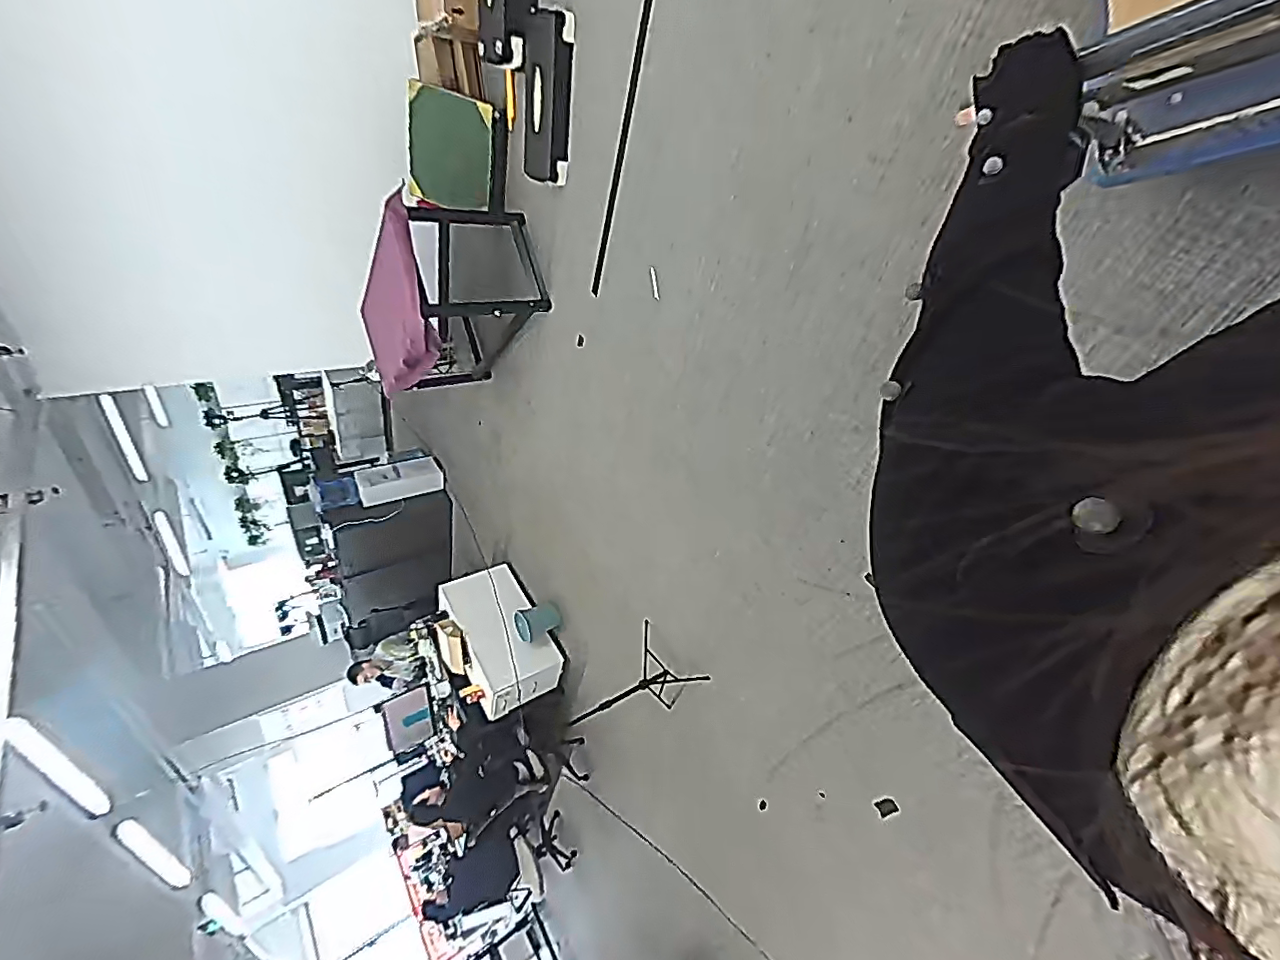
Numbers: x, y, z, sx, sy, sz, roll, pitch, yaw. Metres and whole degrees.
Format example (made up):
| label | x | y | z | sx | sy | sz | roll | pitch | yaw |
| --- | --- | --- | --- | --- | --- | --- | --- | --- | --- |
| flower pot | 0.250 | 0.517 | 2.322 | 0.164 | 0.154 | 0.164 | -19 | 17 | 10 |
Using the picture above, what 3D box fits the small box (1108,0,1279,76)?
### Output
| label | x | y | z | sx | sy | sz | roll | pitch | yaw |
| --- | --- | --- | --- | --- | --- | --- | --- | --- | --- |
| small box | 0.814 | -0.730 | 0.791 | 0.168 | 0.176 | 0.179 | 4 | 107 | 52 |
